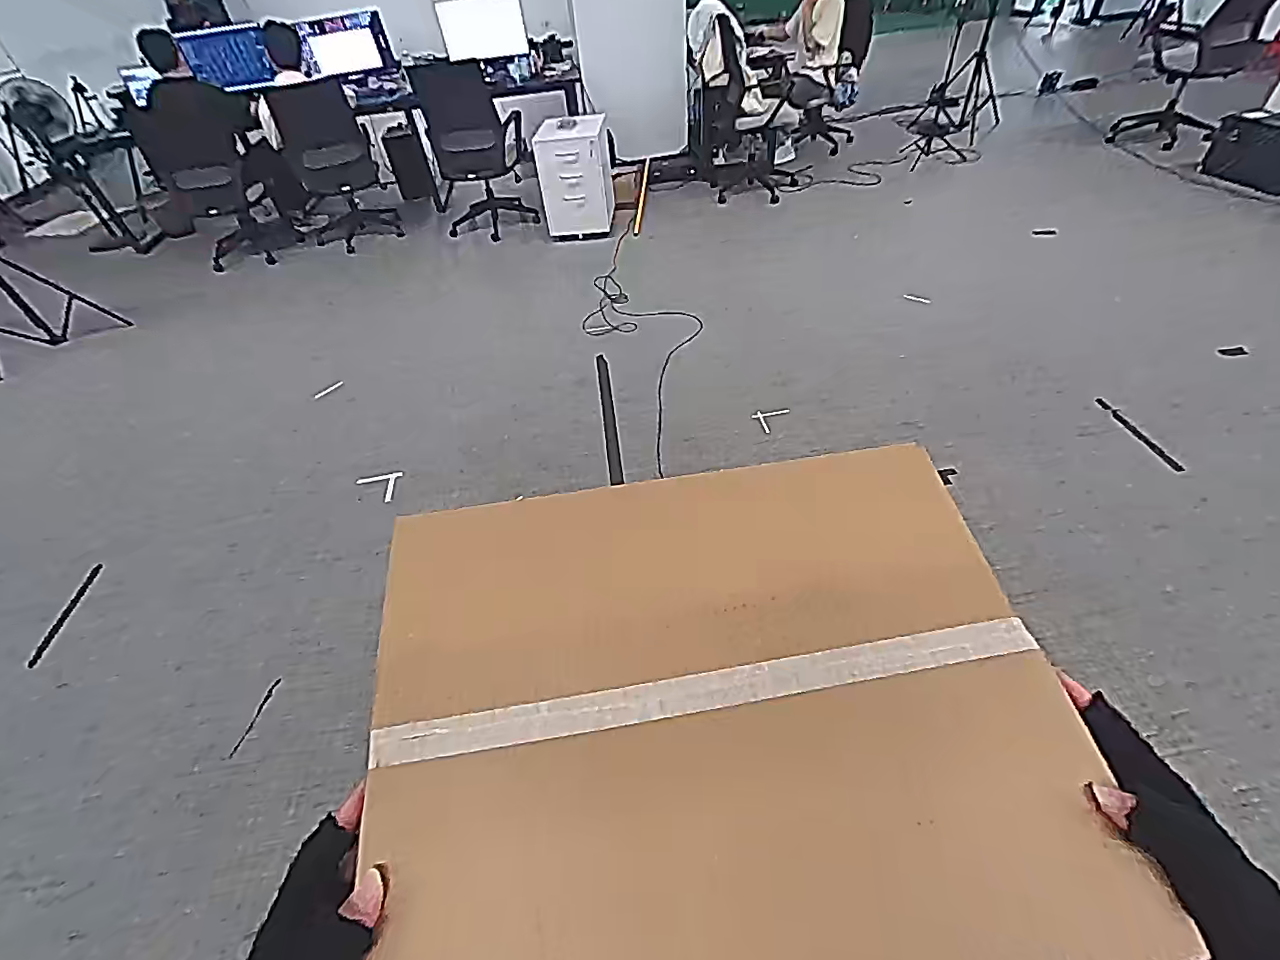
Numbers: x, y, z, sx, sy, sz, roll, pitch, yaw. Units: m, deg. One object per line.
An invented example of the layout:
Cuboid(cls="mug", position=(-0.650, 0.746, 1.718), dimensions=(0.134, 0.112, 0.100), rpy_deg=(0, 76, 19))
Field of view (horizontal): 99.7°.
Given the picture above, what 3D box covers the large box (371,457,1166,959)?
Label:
Cuboid(cls="large box", position=(0.051, 0.219, 0.458), dimensions=(0.408, 0.320, 0.320), rpy_deg=(-9, 56, -3))
